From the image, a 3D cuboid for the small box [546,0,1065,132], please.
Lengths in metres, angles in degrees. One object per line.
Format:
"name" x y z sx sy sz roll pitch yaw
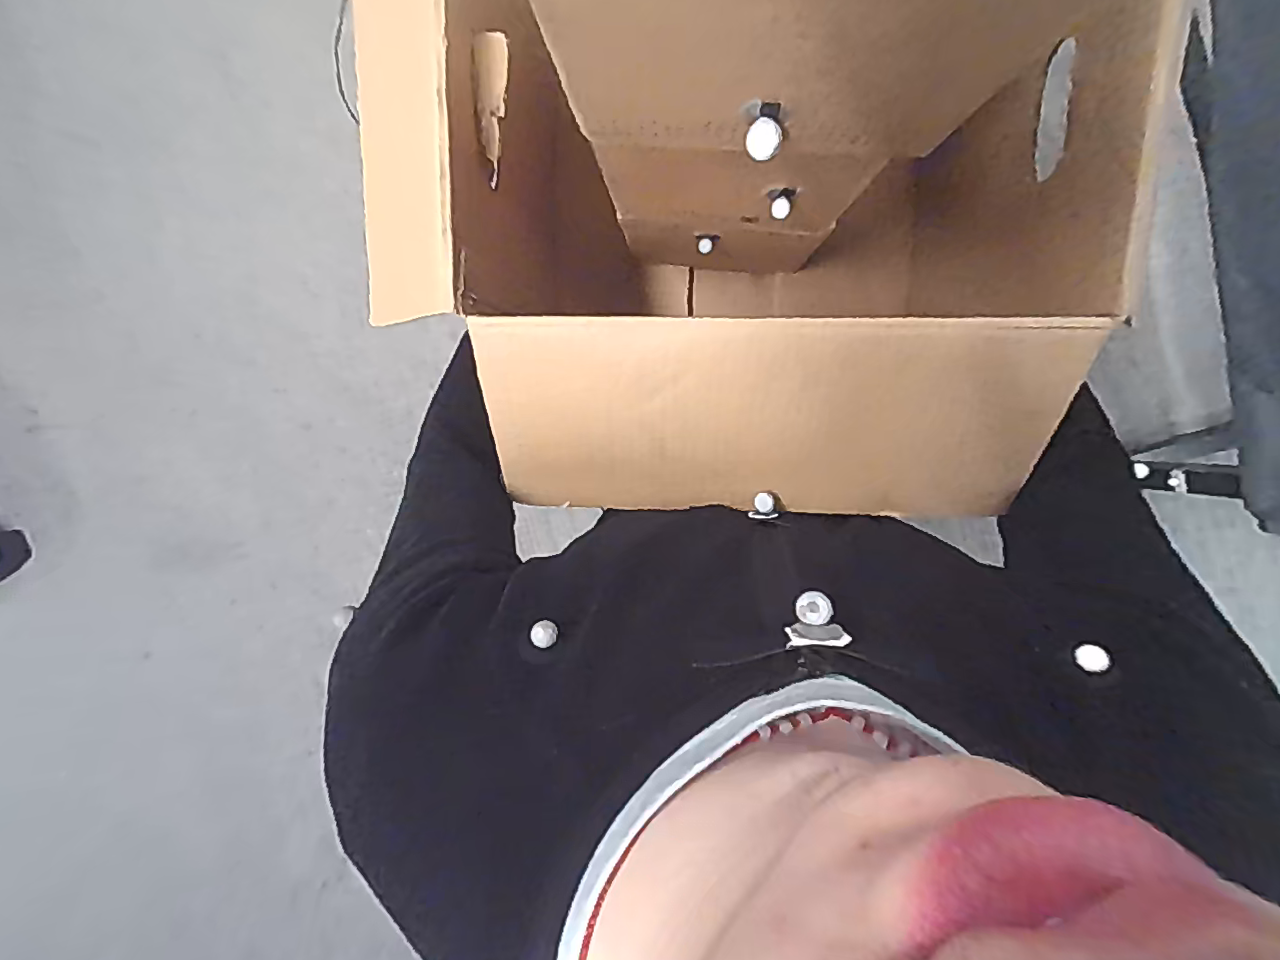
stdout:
"small box" 0.058 -0.236 0.170 0.179 0.176 0.168 4 101 2
